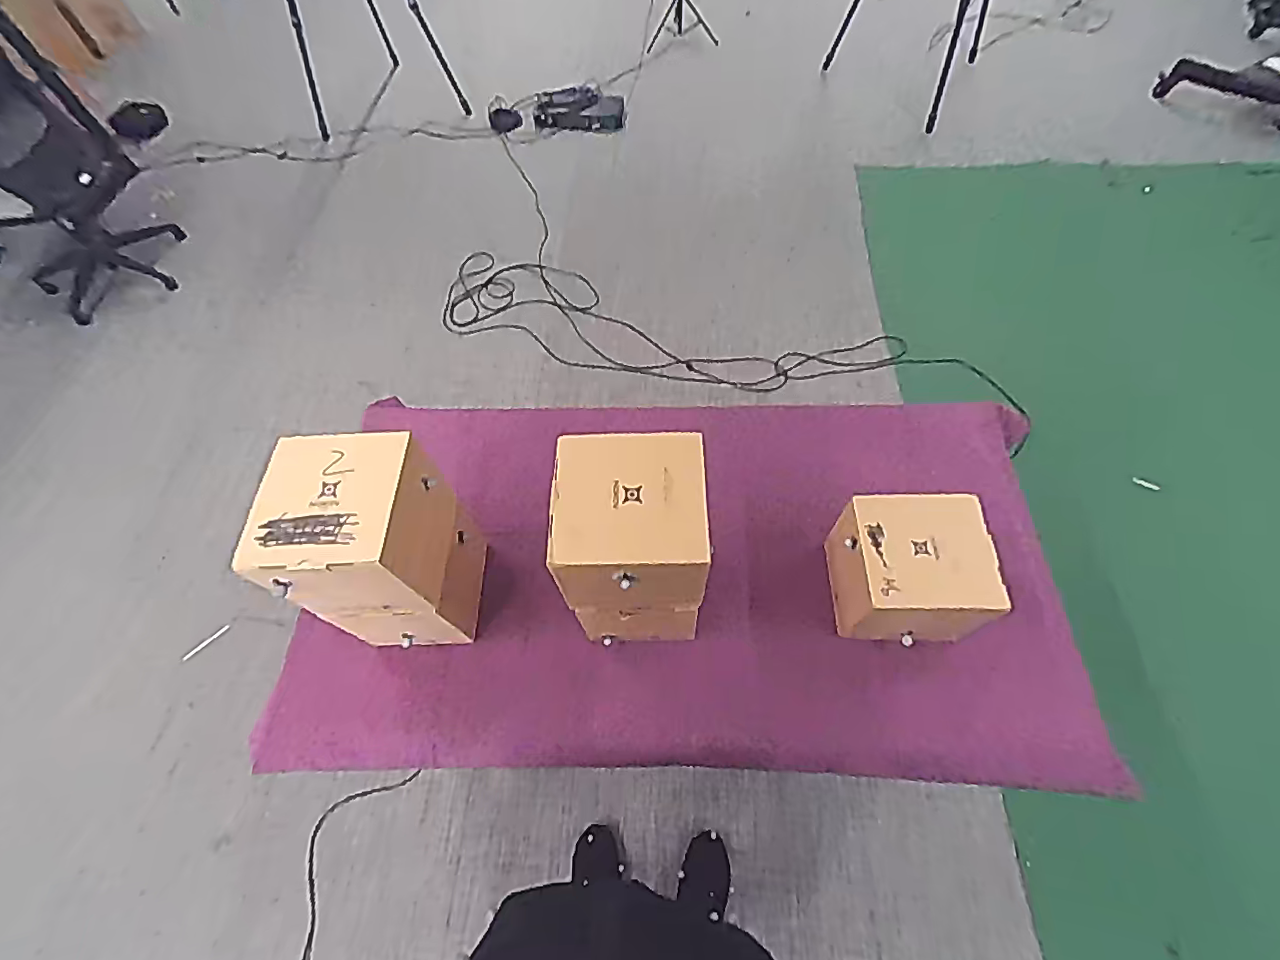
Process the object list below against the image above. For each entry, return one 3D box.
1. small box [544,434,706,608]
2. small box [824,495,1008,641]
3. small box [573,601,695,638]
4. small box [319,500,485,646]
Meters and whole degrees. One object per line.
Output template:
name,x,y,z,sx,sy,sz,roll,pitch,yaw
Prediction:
small box,-0.011,0.058,0.677,0.179,0.176,0.168,-1,61,2
small box,0.388,0.134,0.797,0.179,0.176,0.168,0,59,4
small box,-0.002,0.137,0.819,0.168,0.176,0.179,-1,59,3
small box,-0.348,0.147,0.833,0.168,0.176,0.179,-2,60,2
